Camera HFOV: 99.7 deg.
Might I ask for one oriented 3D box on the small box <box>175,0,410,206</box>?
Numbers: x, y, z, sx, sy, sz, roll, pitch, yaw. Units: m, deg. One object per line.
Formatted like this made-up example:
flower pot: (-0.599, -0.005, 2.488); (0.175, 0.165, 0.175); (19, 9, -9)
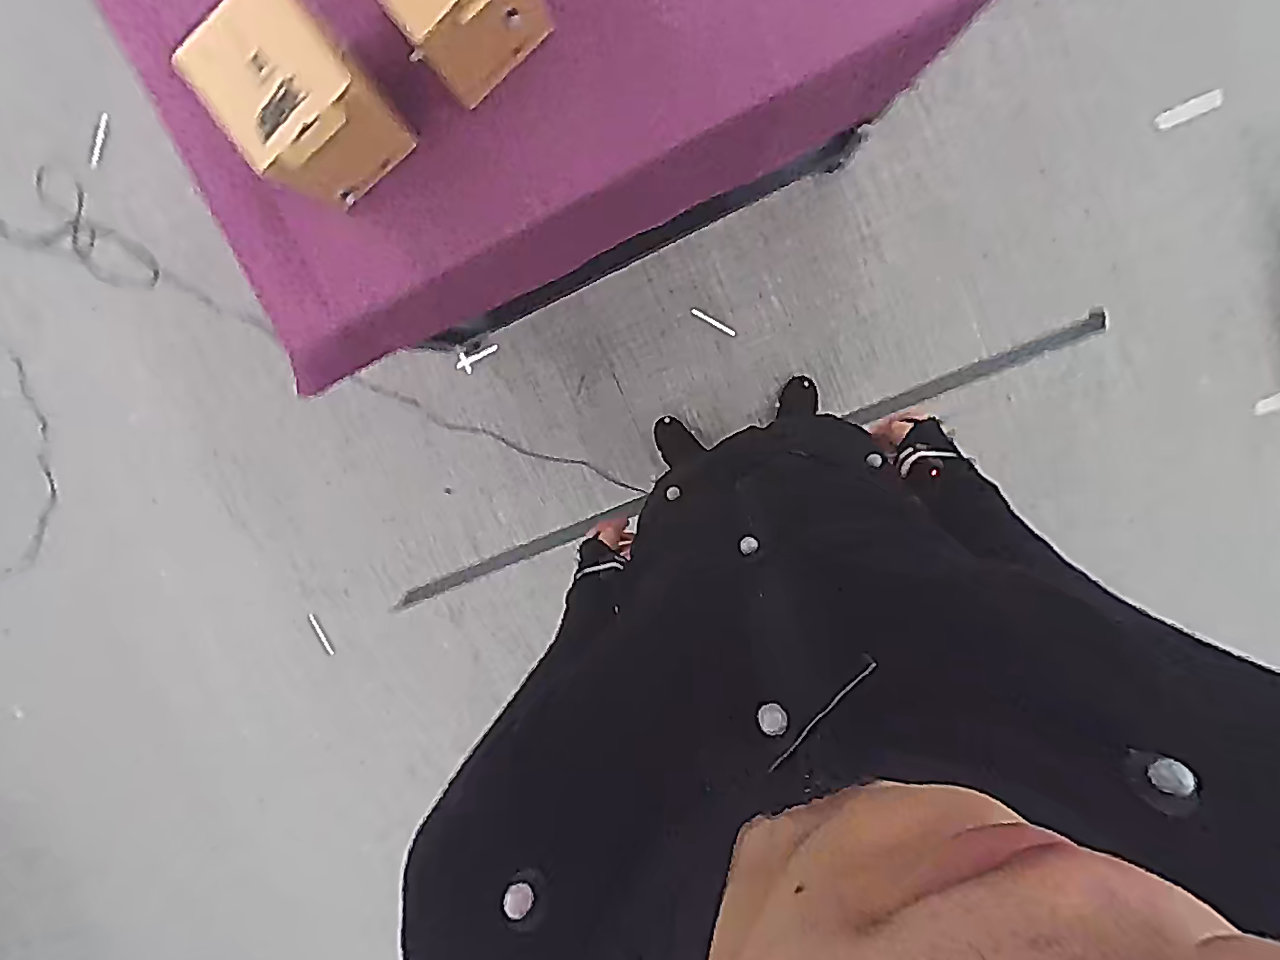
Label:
small box: (-0.461, -0.512, 0.750); (0.168, 0.176, 0.179); (-36, 95, 10)

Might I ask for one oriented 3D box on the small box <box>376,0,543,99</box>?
small box: (-0.253, -0.648, 0.710); (0.168, 0.176, 0.179); (-37, 95, 9)
